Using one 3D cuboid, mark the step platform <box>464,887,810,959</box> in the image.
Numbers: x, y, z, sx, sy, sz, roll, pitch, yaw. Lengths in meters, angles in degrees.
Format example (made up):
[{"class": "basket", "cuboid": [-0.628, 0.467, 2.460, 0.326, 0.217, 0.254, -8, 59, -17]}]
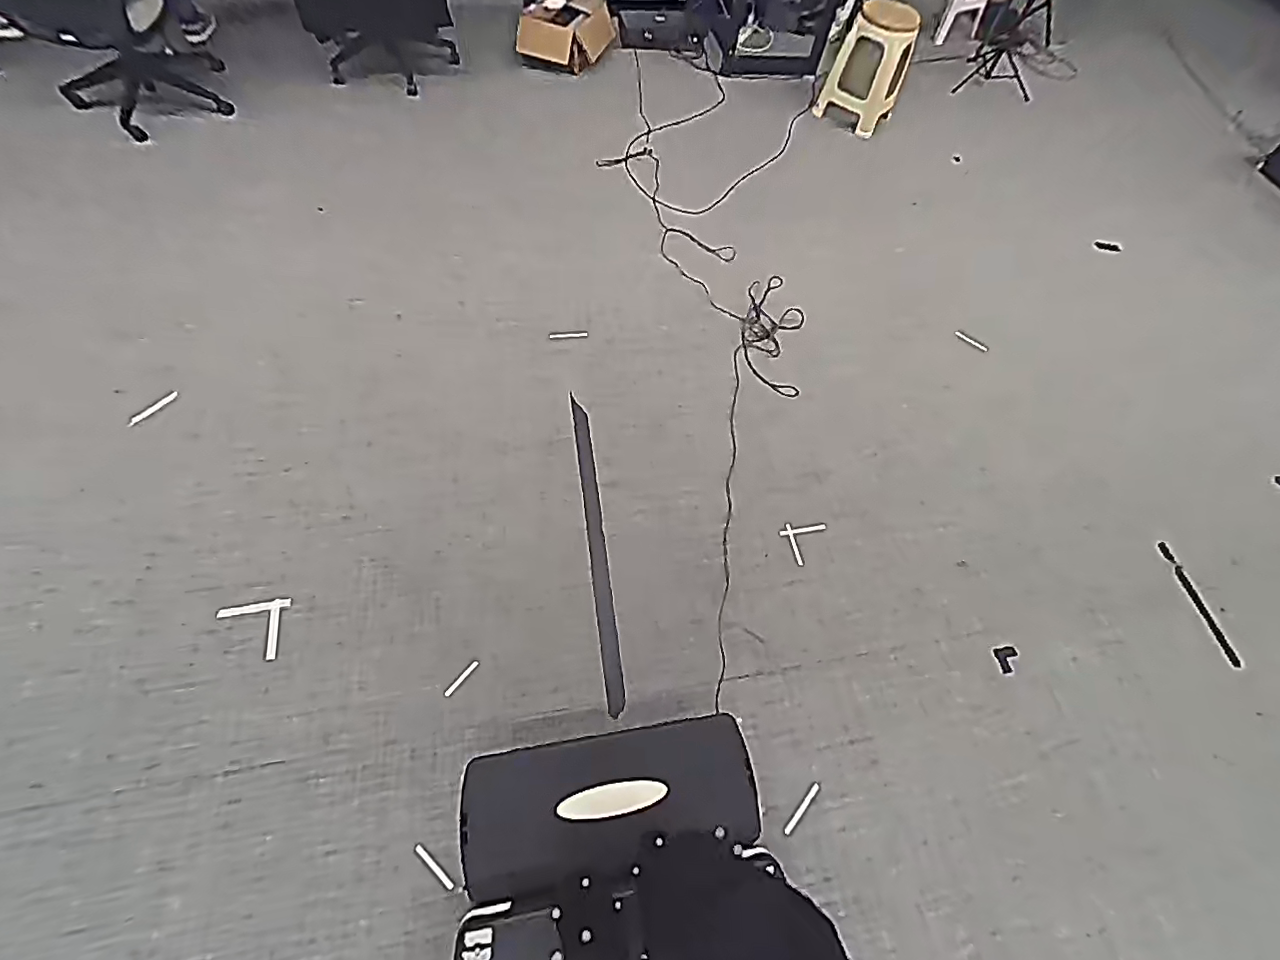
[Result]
[{"class": "step platform", "cuboid": [-0.004, 1.004, 1.039, 0.684, 0.204, 0.286, -3, 59, -6]}]
